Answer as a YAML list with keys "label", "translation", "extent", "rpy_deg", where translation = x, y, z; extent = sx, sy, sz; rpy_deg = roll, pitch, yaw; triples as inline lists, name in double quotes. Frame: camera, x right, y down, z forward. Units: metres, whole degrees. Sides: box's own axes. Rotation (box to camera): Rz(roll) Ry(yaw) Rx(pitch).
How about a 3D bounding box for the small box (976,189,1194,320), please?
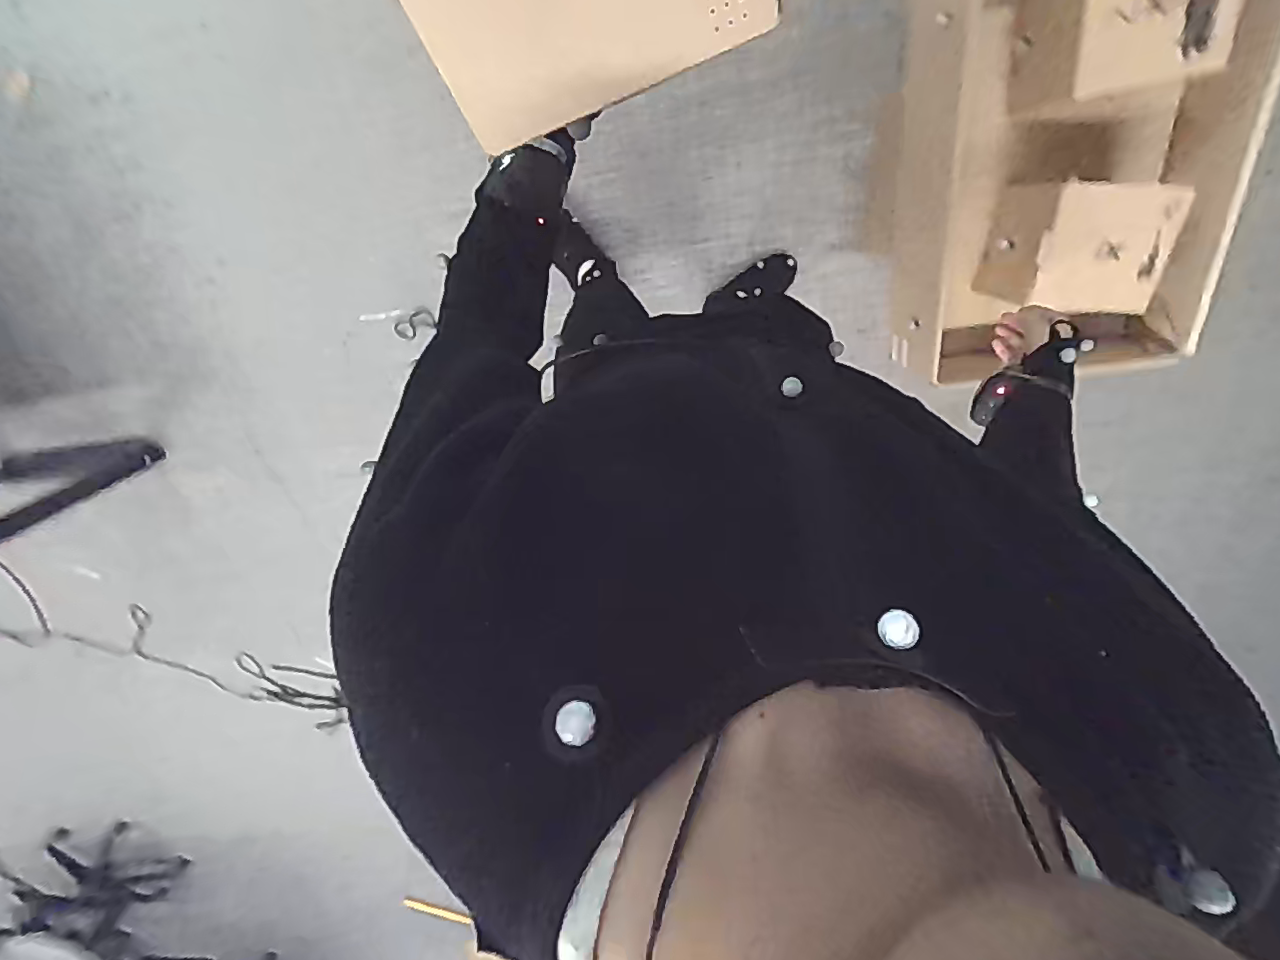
- label: "small box"
  translation: [0.663, -0.349, 0.838]
  extent: [0.179, 0.176, 0.168]
  rpy_deg: [4, 116, 2]
